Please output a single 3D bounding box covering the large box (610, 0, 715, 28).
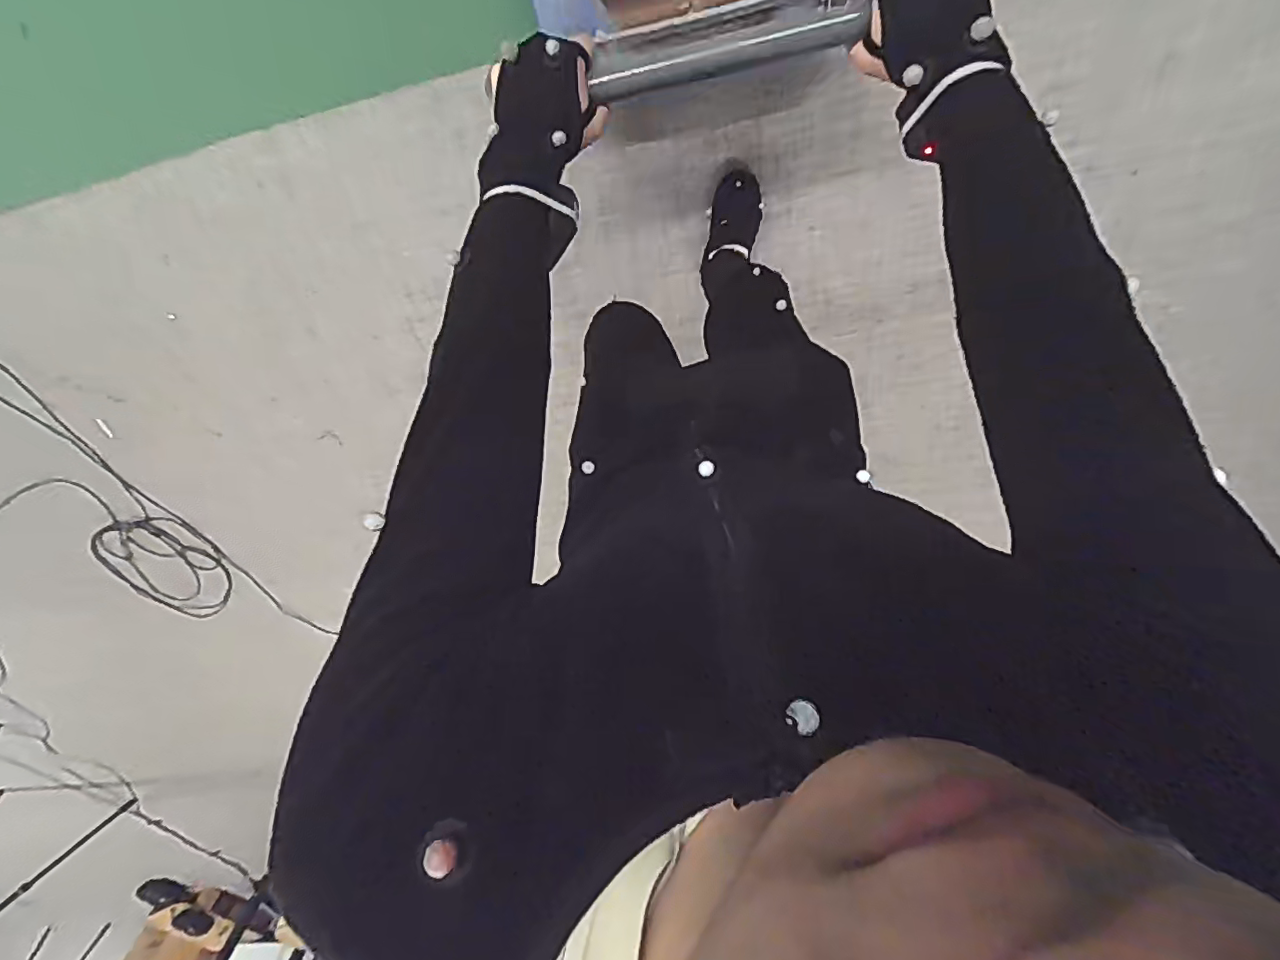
[{"bbox_3d":[0.065,-0.946,0.756,0.320,0.320,0.408,-8,122,9],"label":"large box"}]
